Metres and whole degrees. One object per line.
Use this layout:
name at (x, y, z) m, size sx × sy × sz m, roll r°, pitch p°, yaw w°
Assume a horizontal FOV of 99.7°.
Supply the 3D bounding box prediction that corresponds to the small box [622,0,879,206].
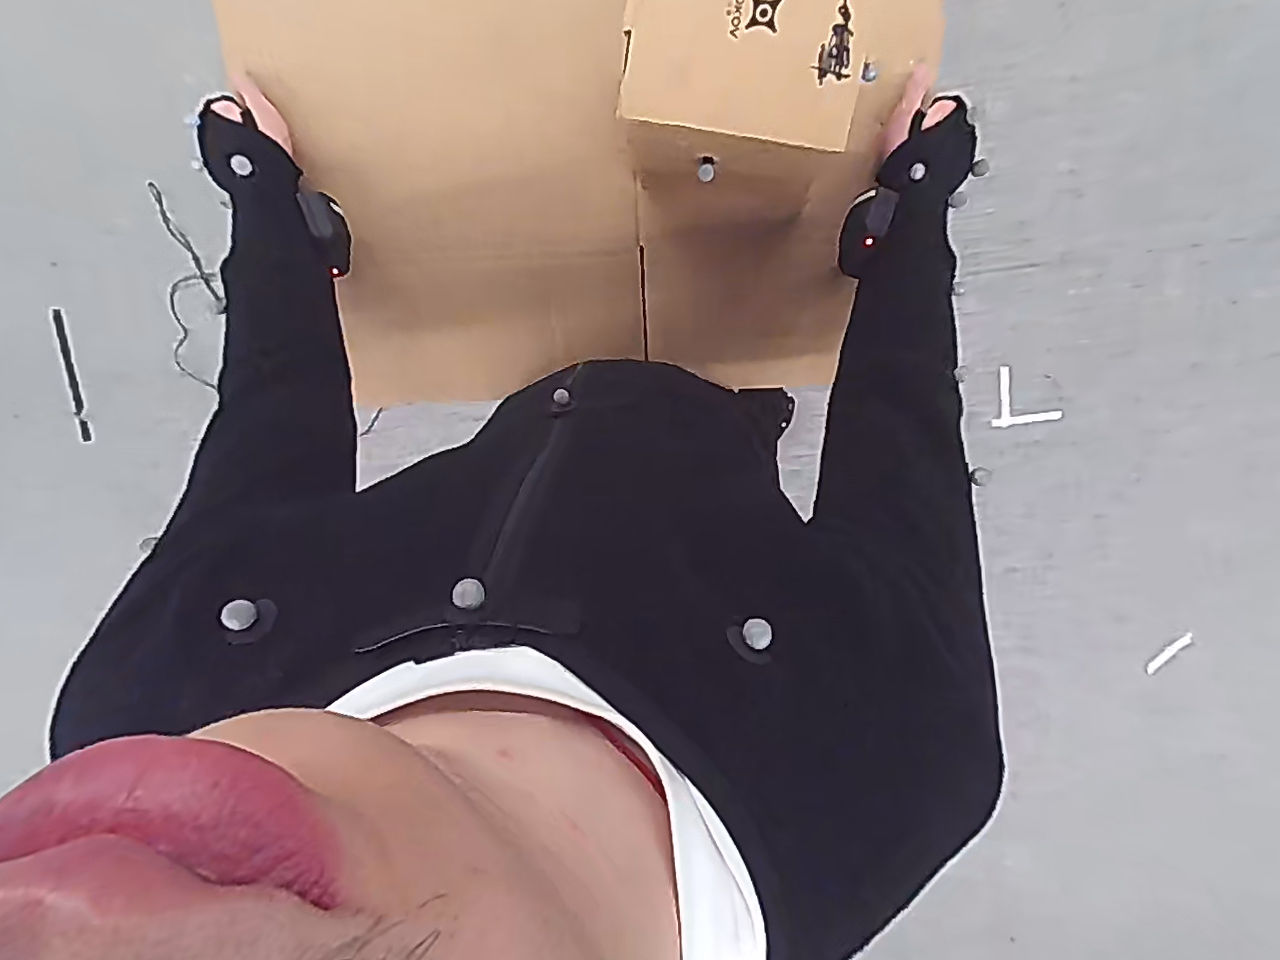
small box at (0.094, -0.360, 0.477) m, size 0.179 × 0.176 × 0.168 m, roll 12°, pitch 103°, yaw 5°
